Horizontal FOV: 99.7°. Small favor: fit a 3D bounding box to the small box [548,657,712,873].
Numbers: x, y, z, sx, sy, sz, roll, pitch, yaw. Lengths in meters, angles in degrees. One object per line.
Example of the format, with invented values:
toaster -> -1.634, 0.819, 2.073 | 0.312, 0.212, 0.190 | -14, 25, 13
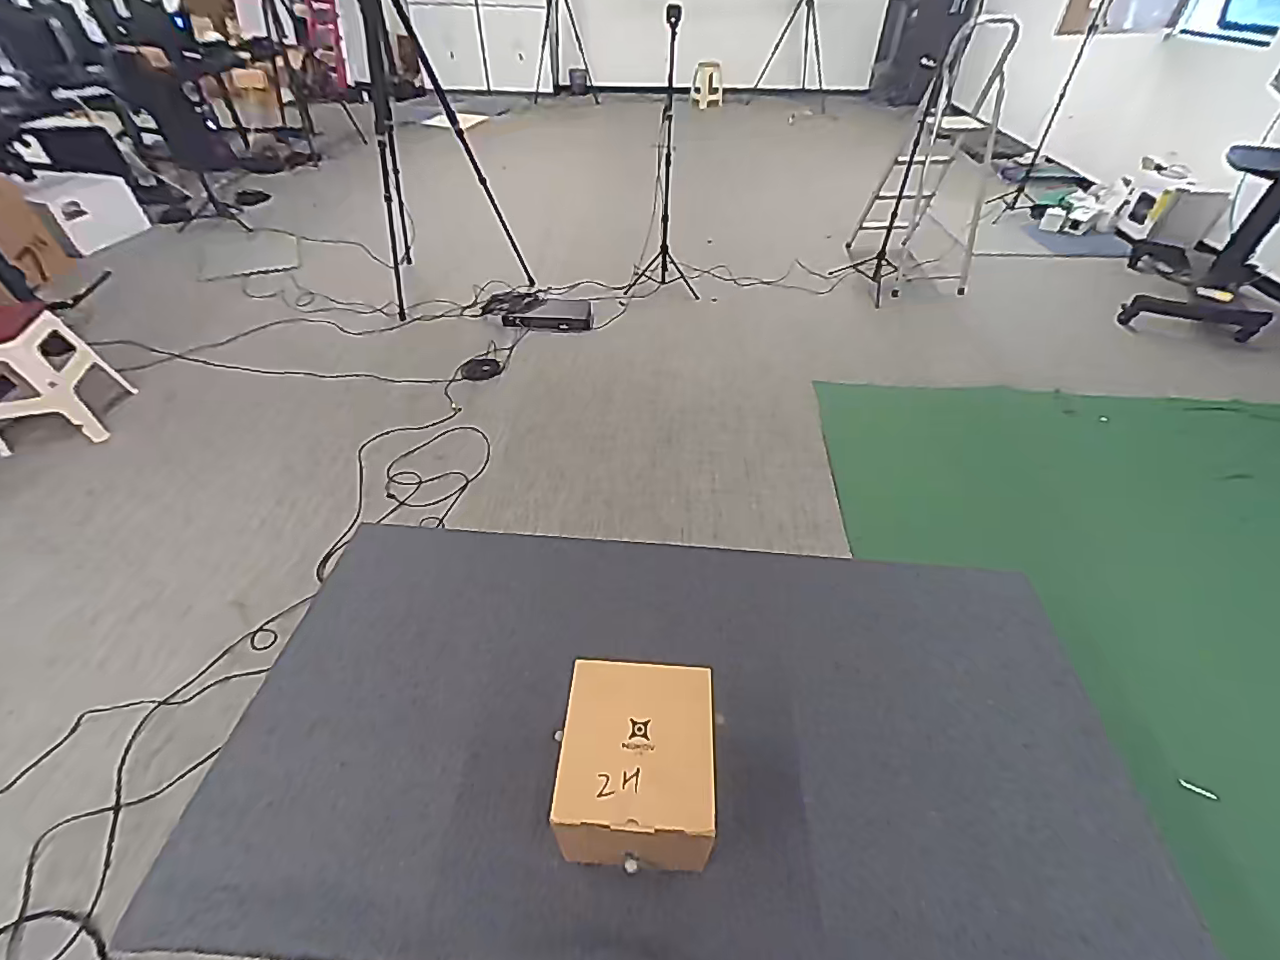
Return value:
small box -> -0.006, 0.336, 0.642 | 0.168, 0.176, 0.179 | 2, 43, 3
